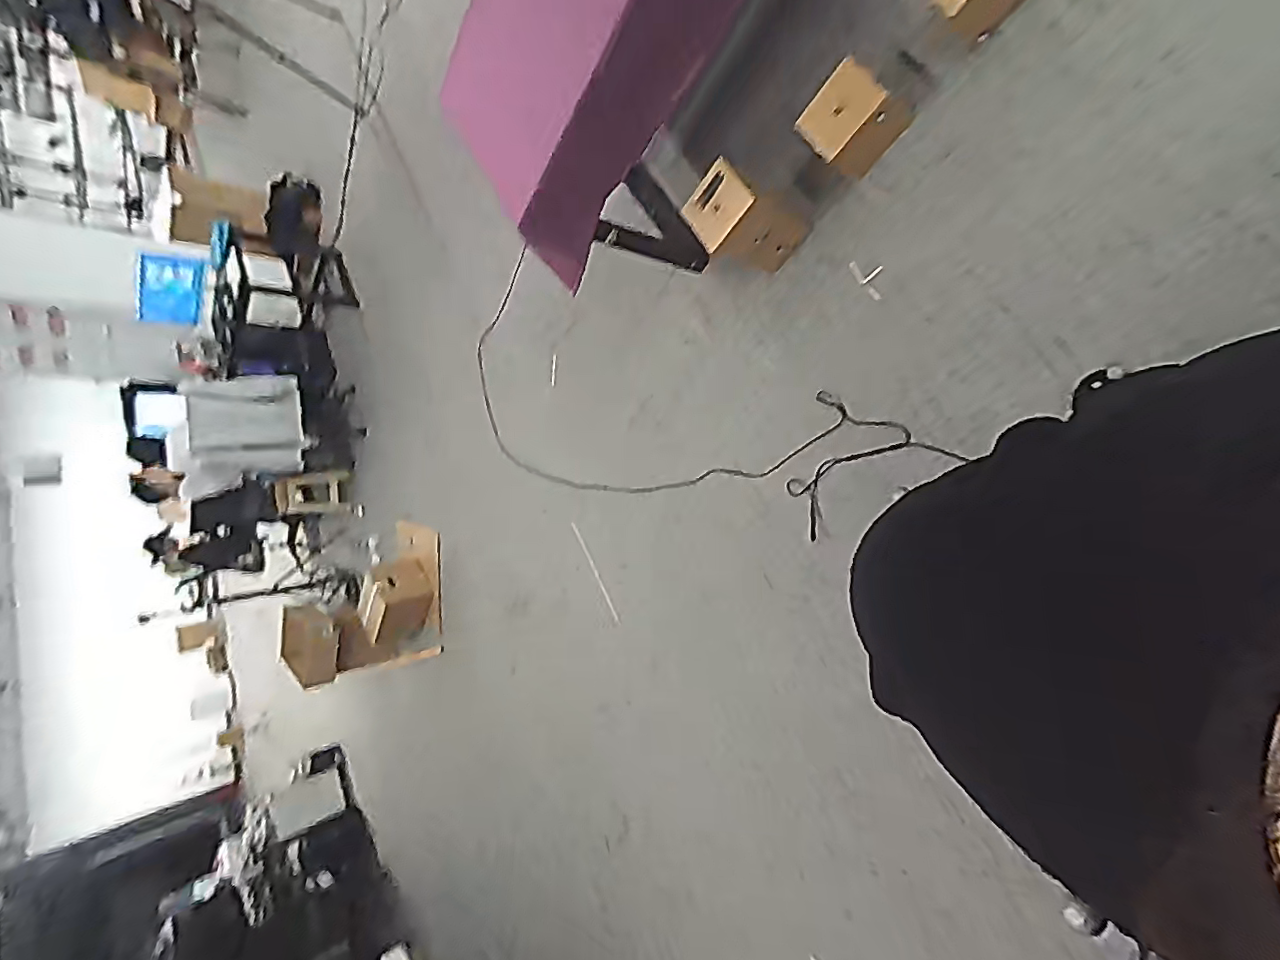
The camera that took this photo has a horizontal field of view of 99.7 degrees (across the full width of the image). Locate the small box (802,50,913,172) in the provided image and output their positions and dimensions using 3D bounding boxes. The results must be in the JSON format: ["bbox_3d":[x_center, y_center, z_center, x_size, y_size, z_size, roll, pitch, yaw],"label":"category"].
[{"bbox_3d":[0.563,-0.938,1.395,0.179,0.176,0.168,-44,65,38],"label":"small box"}]
